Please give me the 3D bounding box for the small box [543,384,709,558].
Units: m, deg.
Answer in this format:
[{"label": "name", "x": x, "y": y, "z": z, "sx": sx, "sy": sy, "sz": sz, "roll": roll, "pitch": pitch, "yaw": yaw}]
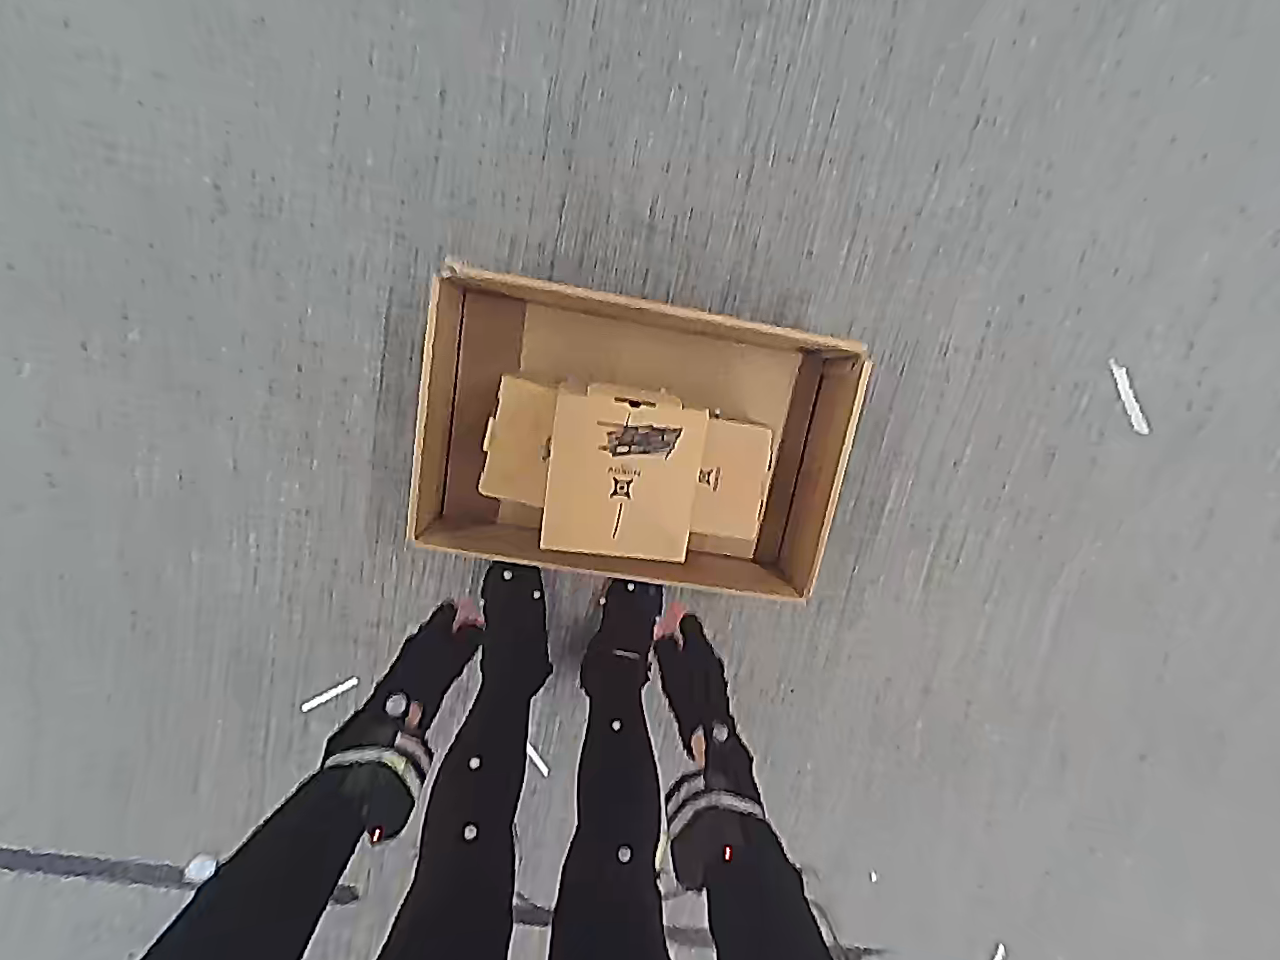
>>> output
[{"label": "small box", "x": -0.026, "y": -0.020, "z": 0.668, "sx": 0.168, "sy": 0.176, "sz": 0.179, "roll": 7, "pitch": 102, "yaw": -8}]
